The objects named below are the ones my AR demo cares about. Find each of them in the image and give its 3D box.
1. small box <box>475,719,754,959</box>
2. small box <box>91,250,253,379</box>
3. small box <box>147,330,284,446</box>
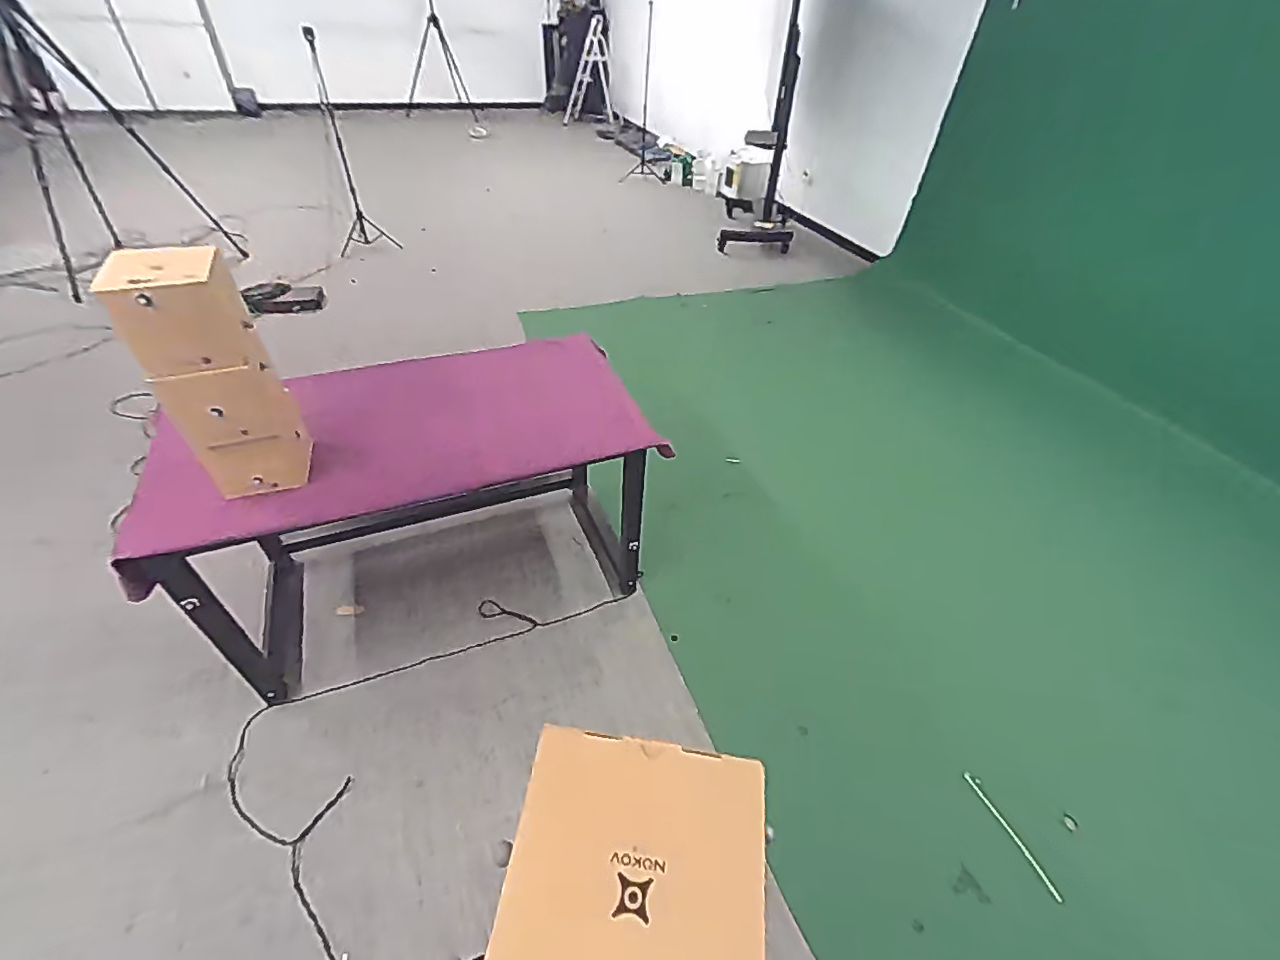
[{"bbox_3d":[-0.012,0.307,0.405,0.168,0.176,0.179,8,48,3],"label":"small box"},{"bbox_3d":[-0.860,-0.312,1.017,0.168,0.176,0.179,-15,46,-19],"label":"small box"},{"bbox_3d":[-0.865,-0.187,1.124,0.168,0.176,0.179,-13,46,-19],"label":"small box"}]
